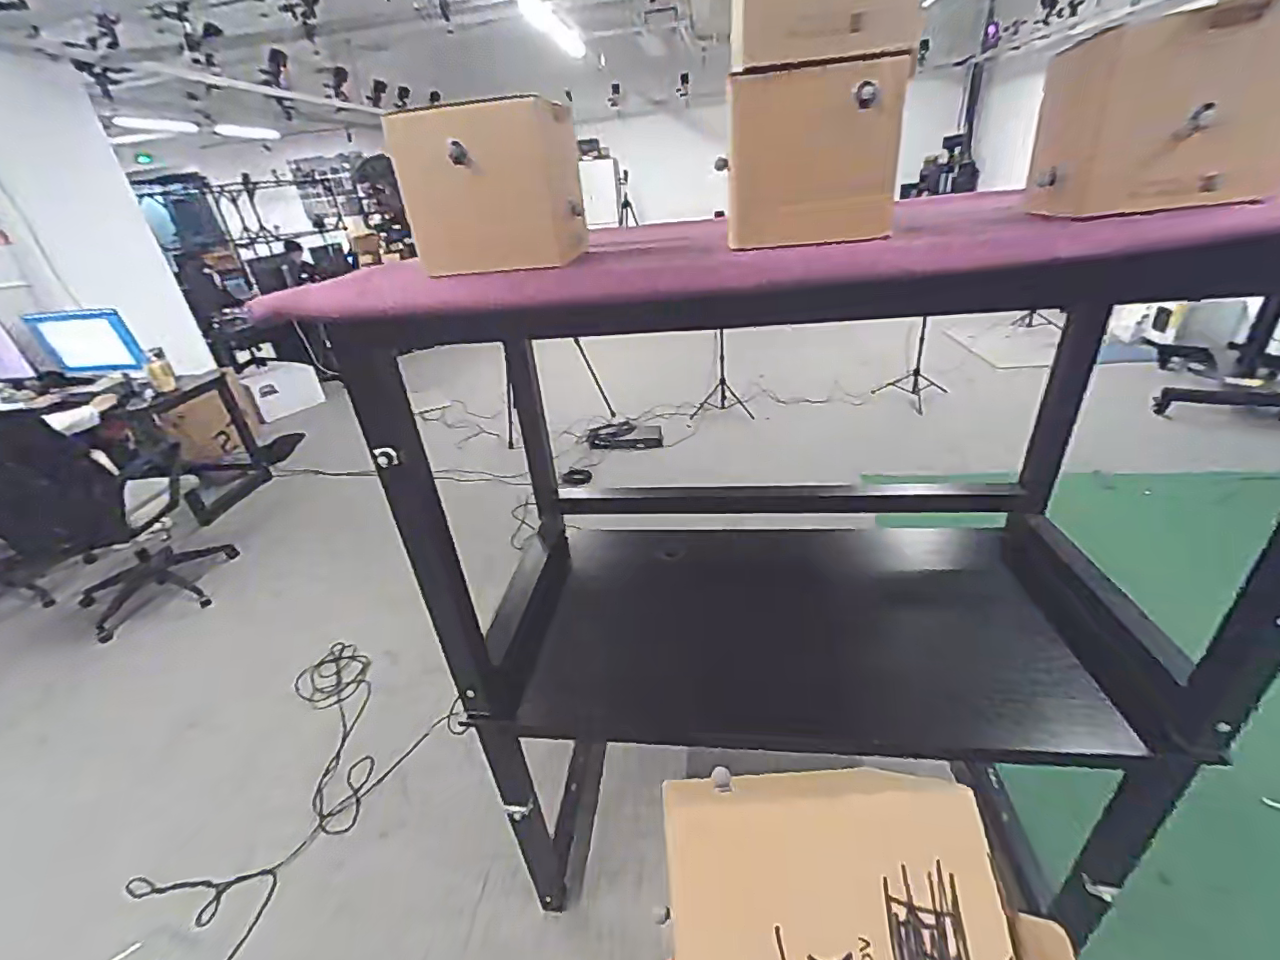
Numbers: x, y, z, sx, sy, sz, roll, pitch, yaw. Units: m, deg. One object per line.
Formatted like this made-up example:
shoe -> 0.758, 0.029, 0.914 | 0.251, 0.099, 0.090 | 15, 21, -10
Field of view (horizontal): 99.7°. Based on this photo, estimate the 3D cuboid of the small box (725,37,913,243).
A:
small box -> 0.189, -0.373, 0.622 | 0.179, 0.176, 0.168 | -1, 28, 9

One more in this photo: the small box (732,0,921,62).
small box -> 0.181, -0.515, 0.544 | 0.168, 0.176, 0.179 | -1, 27, 6

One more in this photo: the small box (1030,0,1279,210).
small box -> 0.547, -0.386, 0.567 | 0.168, 0.176, 0.179 | 1, 28, 16

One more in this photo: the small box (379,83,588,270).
small box -> -0.172, -0.359, 0.657 | 0.179, 0.176, 0.168 | -1, 31, 8
